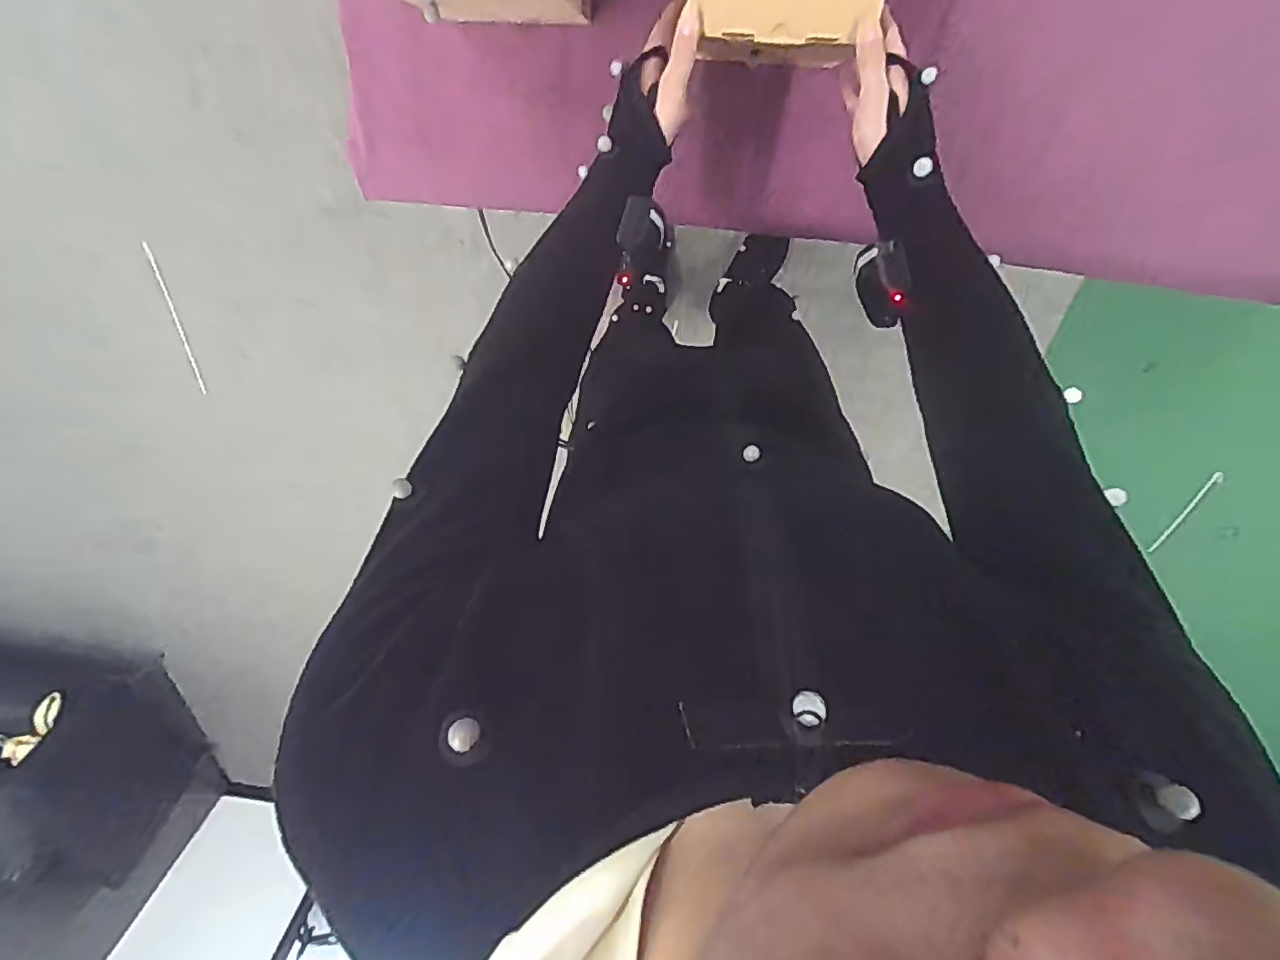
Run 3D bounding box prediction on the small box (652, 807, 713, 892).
[{"bbox_3d":[0.141,1.223,1.794,0.168,0.176,0.179,11,123,-2],"label":"small box"}]
